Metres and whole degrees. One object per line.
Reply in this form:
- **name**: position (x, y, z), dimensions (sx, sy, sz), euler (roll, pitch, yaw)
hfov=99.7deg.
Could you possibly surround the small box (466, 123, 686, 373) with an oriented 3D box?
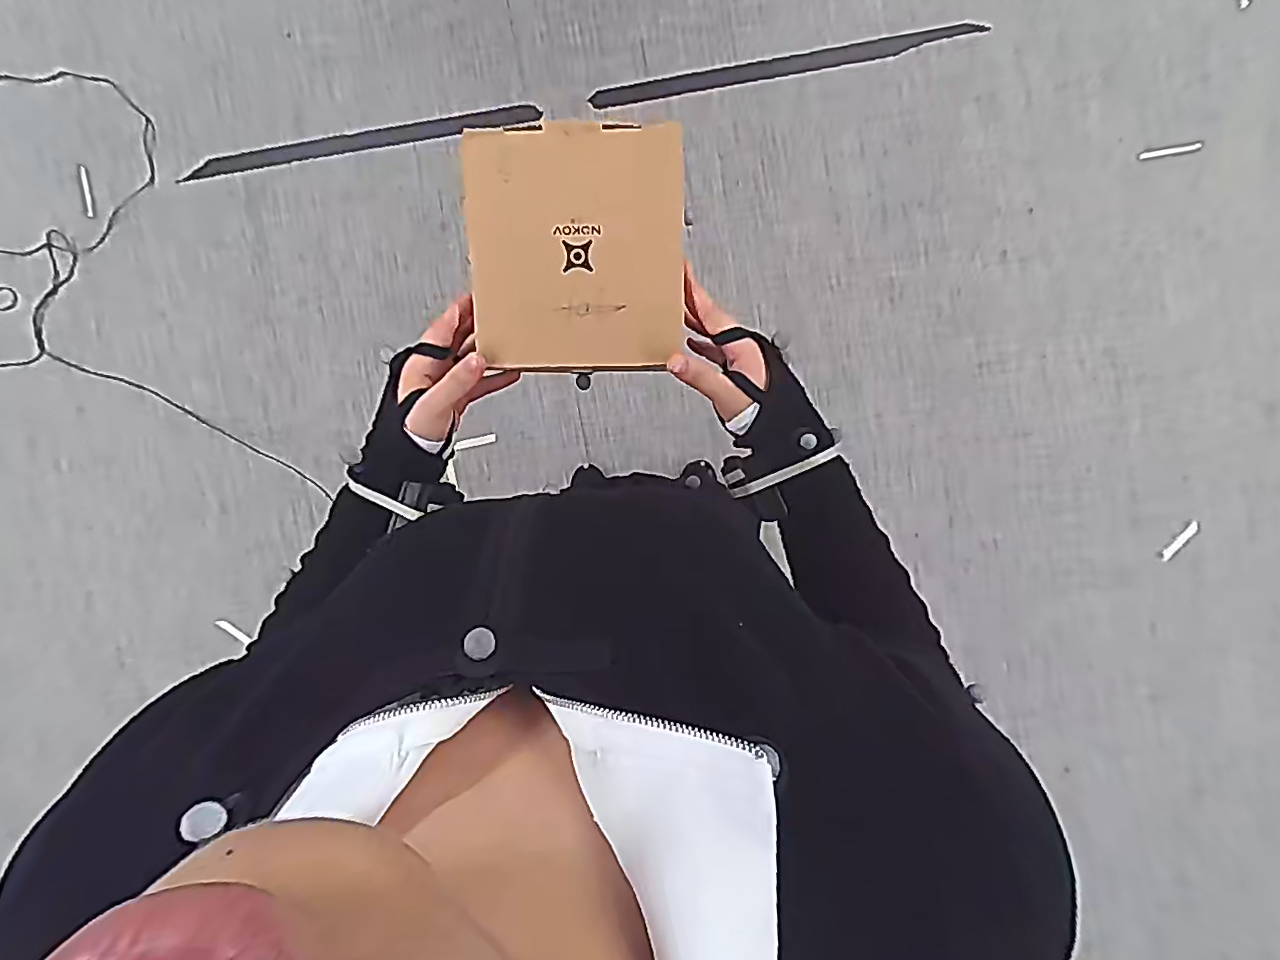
- **small box**: position (-0.048, -0.190, 0.490), dimensions (0.168, 0.176, 0.179), euler (0, 100, 1)

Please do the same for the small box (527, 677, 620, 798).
- **small box**: position (-0.137, 0.551, 1.172), dimensions (0.168, 0.176, 0.179), euler (-6, 92, 2)
